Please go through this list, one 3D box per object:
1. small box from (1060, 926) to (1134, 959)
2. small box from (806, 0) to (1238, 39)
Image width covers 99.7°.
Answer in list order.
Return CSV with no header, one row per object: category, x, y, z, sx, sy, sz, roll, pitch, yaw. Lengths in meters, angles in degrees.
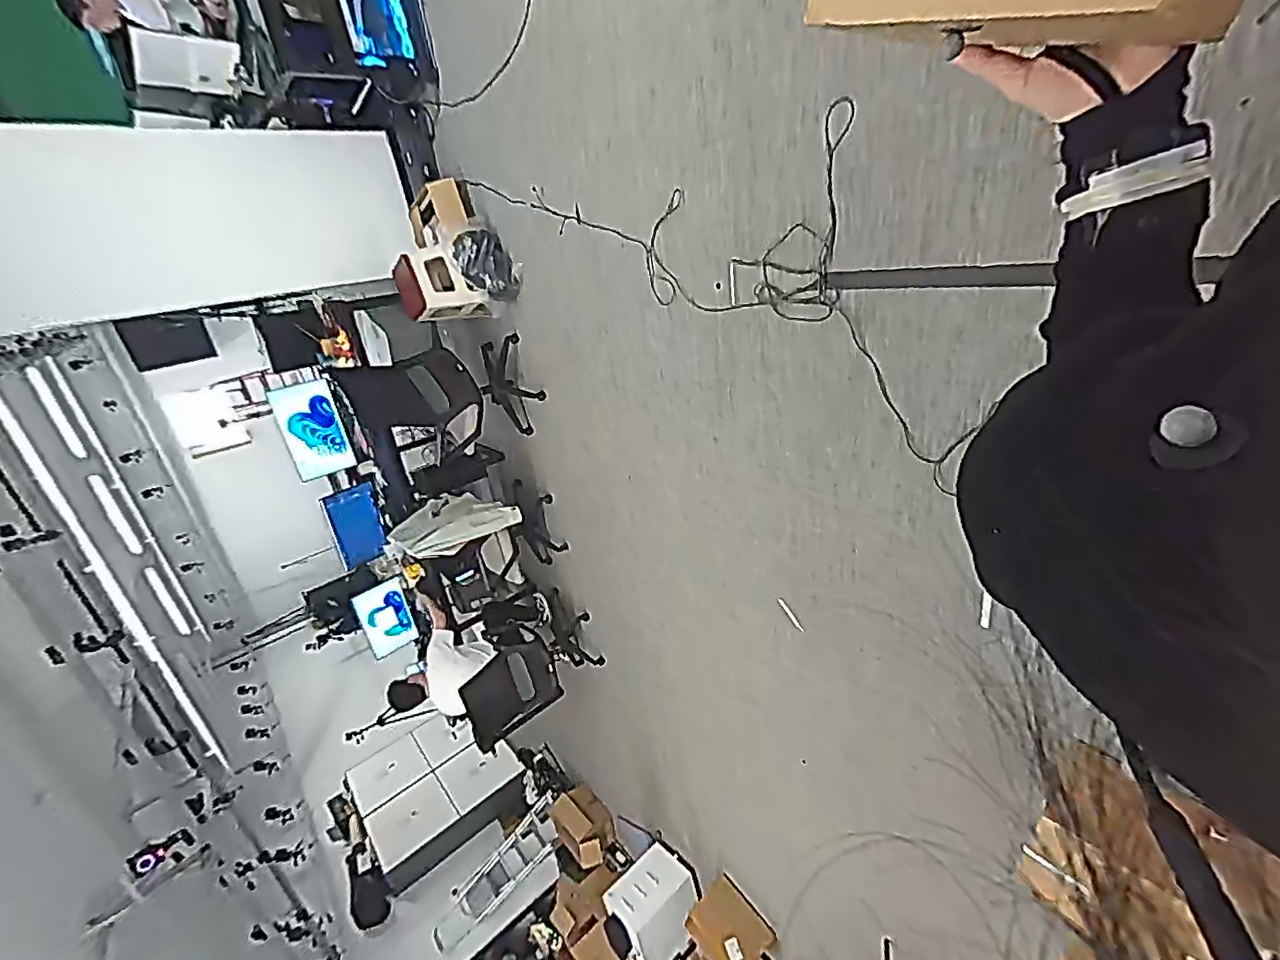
small box,0.983,1.105,1.137,0.168,0.176,0.179,25,130,44
small box,0.217,-0.328,0.265,0.179,0.176,0.168,34,137,36
